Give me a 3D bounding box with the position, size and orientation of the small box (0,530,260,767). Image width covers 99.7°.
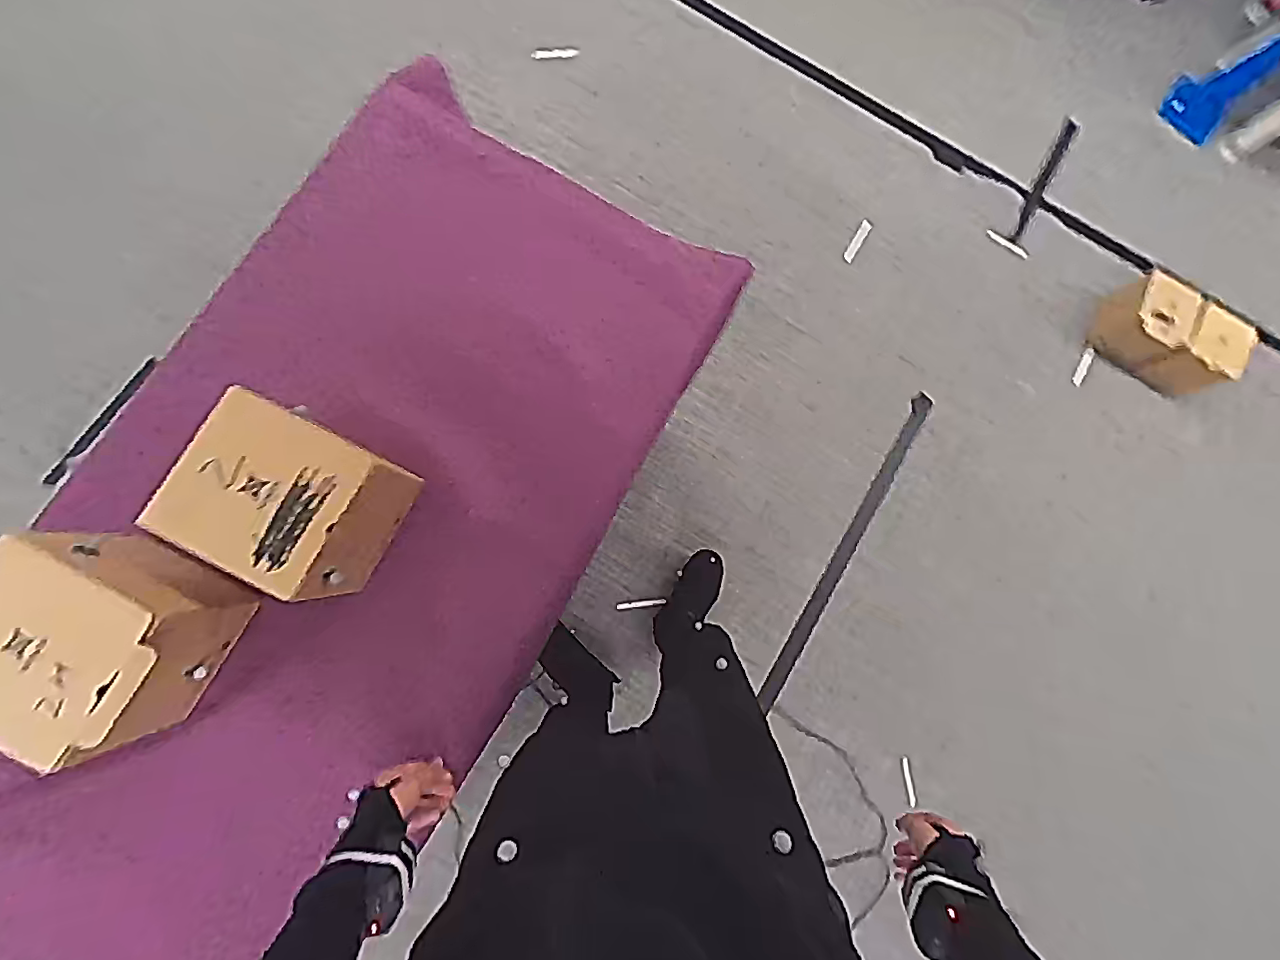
[{"bbox_3d":[-0.584,0.172,0.596,0.179,0.176,0.168,29,81,-1],"label":"small box"}]
